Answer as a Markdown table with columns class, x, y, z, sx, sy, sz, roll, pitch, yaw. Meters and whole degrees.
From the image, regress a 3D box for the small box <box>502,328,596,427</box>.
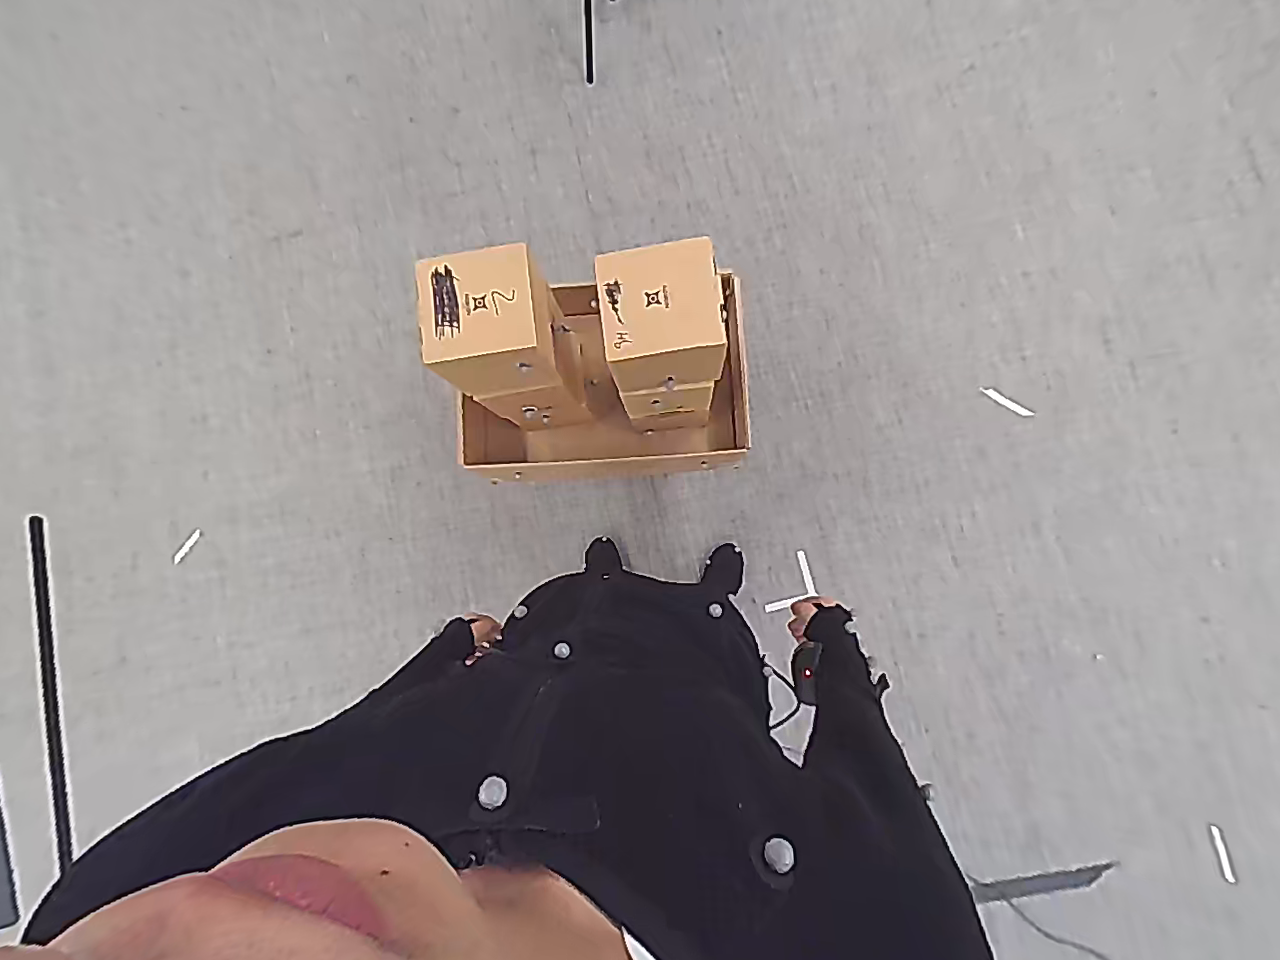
| class | x | y | z | sx | sy | sz | roll | pitch | yaw |
| --- | --- | --- | --- | --- | --- | --- | --- | --- | --- |
| small box | -0.201 | -0.219 | 1.199 | 0.179 | 0.176 | 0.168 | -6 | 84 | 3 |

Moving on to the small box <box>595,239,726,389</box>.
| class | x | y | z | sx | sy | sz | roll | pitch | yaw |
| --- | --- | --- | --- | --- | --- | --- | --- | --- | --- |
| small box | 0.032 | -0.252 | 0.856 | 0.179 | 0.176 | 0.168 | -7 | 83 | 3 |

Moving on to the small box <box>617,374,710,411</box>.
| class | x | y | z | sx | sy | sz | roll | pitch | yaw |
| --- | --- | --- | --- | --- | --- | --- | --- | --- | --- |
| small box | 0.043 | -0.232 | 1.019 | 0.168 | 0.176 | 0.179 | -5 | 83 | 4 |

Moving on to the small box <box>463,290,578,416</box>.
| class | x | y | z | sx | sy | sz | roll | pitch | yaw |
| --- | --- | --- | --- | --- | --- | --- | --- | --- | --- |
| small box | -0.222 | -0.235 | 1.037 | 0.168 | 0.176 | 0.179 | -9 | 84 | 5 |
